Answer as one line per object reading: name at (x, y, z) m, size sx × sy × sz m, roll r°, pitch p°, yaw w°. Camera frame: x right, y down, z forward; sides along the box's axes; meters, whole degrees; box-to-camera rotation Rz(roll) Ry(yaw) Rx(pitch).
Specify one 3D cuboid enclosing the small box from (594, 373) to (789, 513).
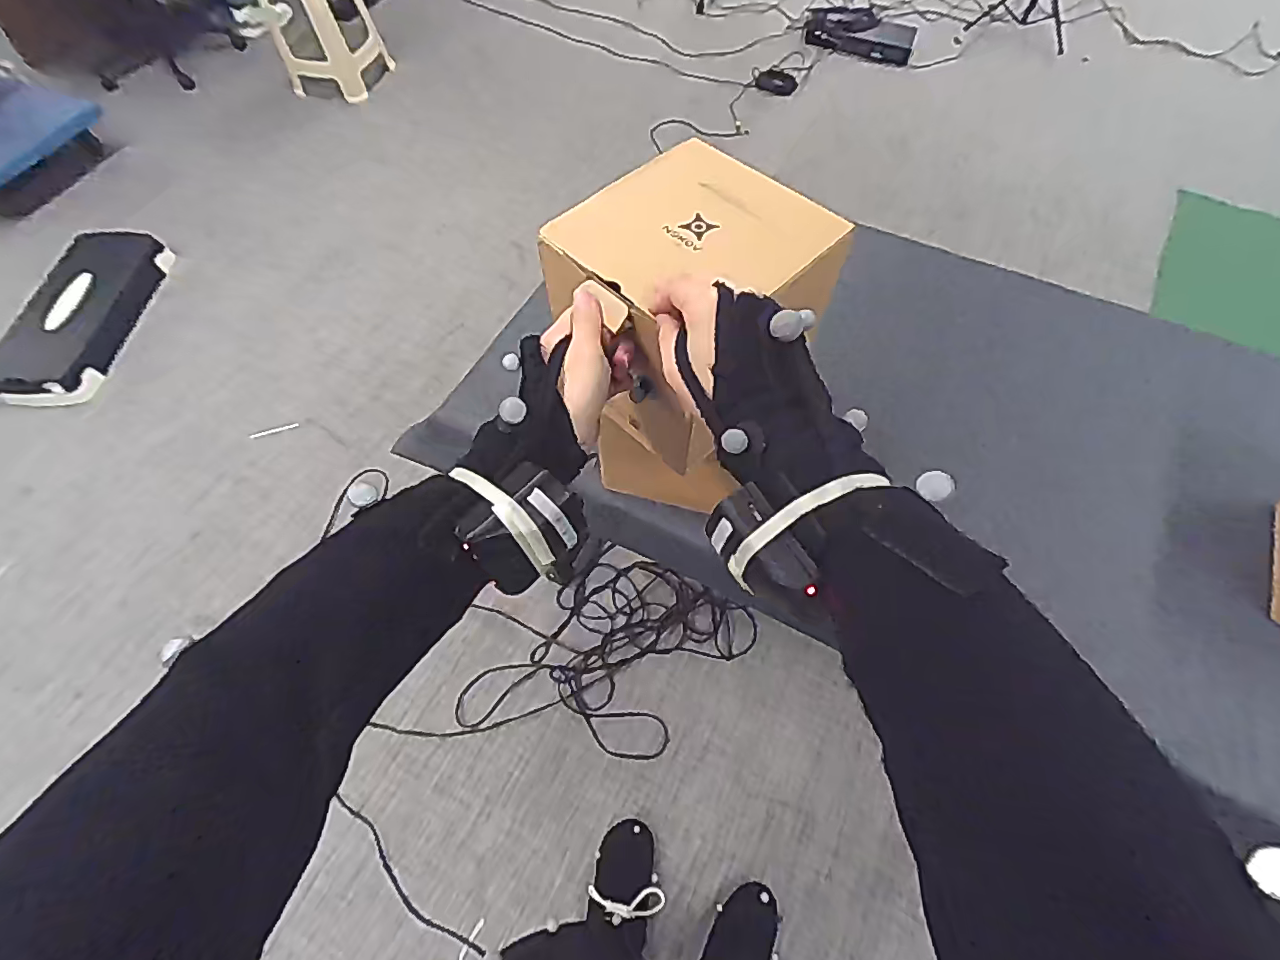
small box at (0.062, -0.079, 0.616) m, size 0.179 × 0.176 × 0.168 m, roll 14°, pitch 62°, yaw 9°

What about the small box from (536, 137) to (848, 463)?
small box at (0.040, -0.146, 0.468) m, size 0.179 × 0.176 × 0.168 m, roll -41°, pitch 69°, yaw -20°
